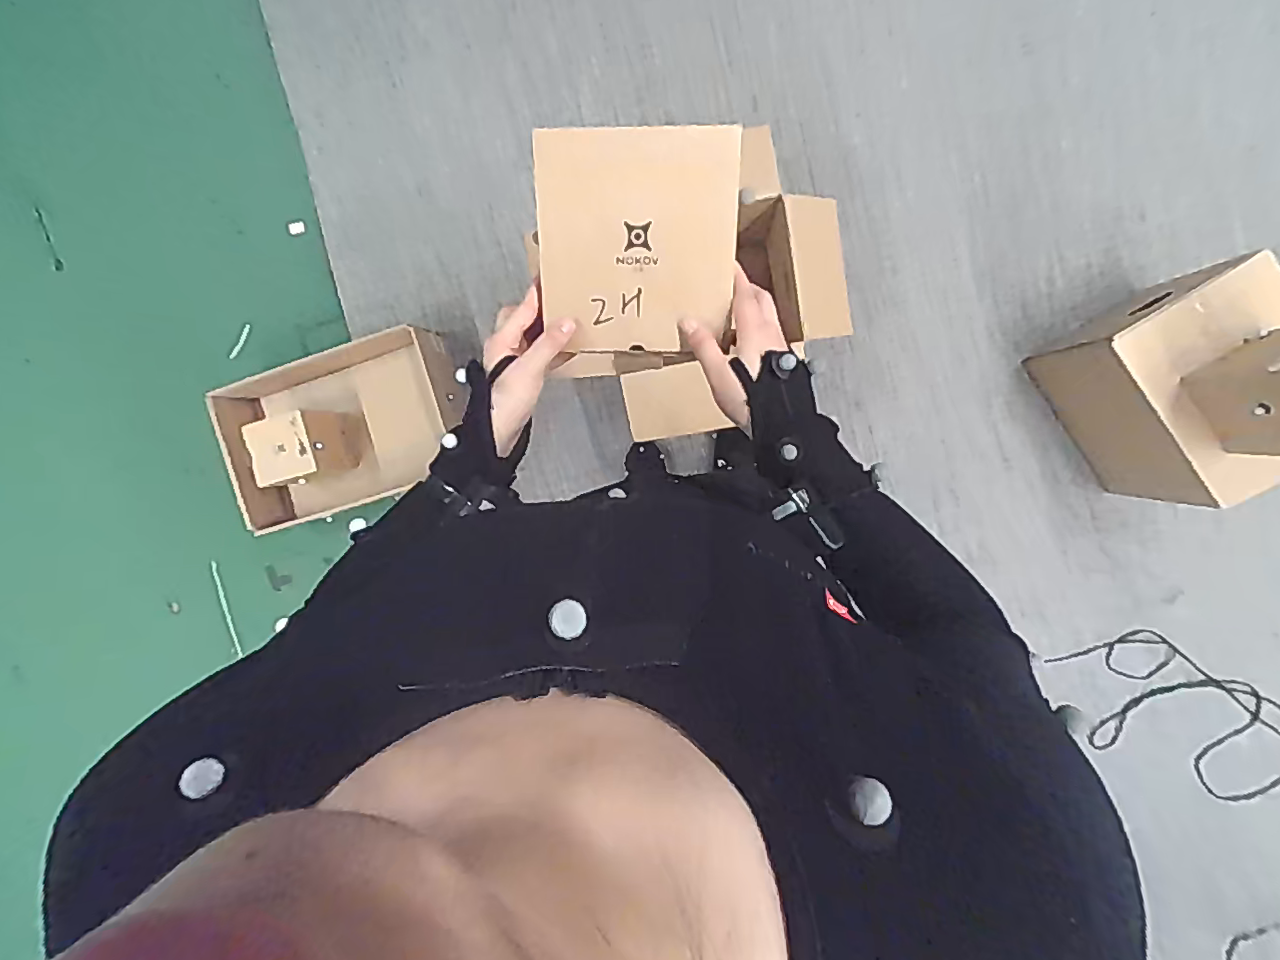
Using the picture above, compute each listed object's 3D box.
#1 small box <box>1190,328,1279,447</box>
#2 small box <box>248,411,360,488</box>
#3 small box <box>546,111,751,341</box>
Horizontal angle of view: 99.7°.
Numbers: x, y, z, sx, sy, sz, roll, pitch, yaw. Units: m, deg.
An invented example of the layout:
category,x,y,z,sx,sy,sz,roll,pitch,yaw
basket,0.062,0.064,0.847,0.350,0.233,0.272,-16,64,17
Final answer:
category,x,y,z,sx,sy,sz,roll,pitch,yaw
small box,1.144,-0.167,0.945,0.168,0.176,0.179,-32,90,10
small box,-0.903,-0.081,1.465,0.179,0.176,0.168,-15,91,8
small box,0.010,-0.233,0.527,0.168,0.176,0.179,1,110,4
